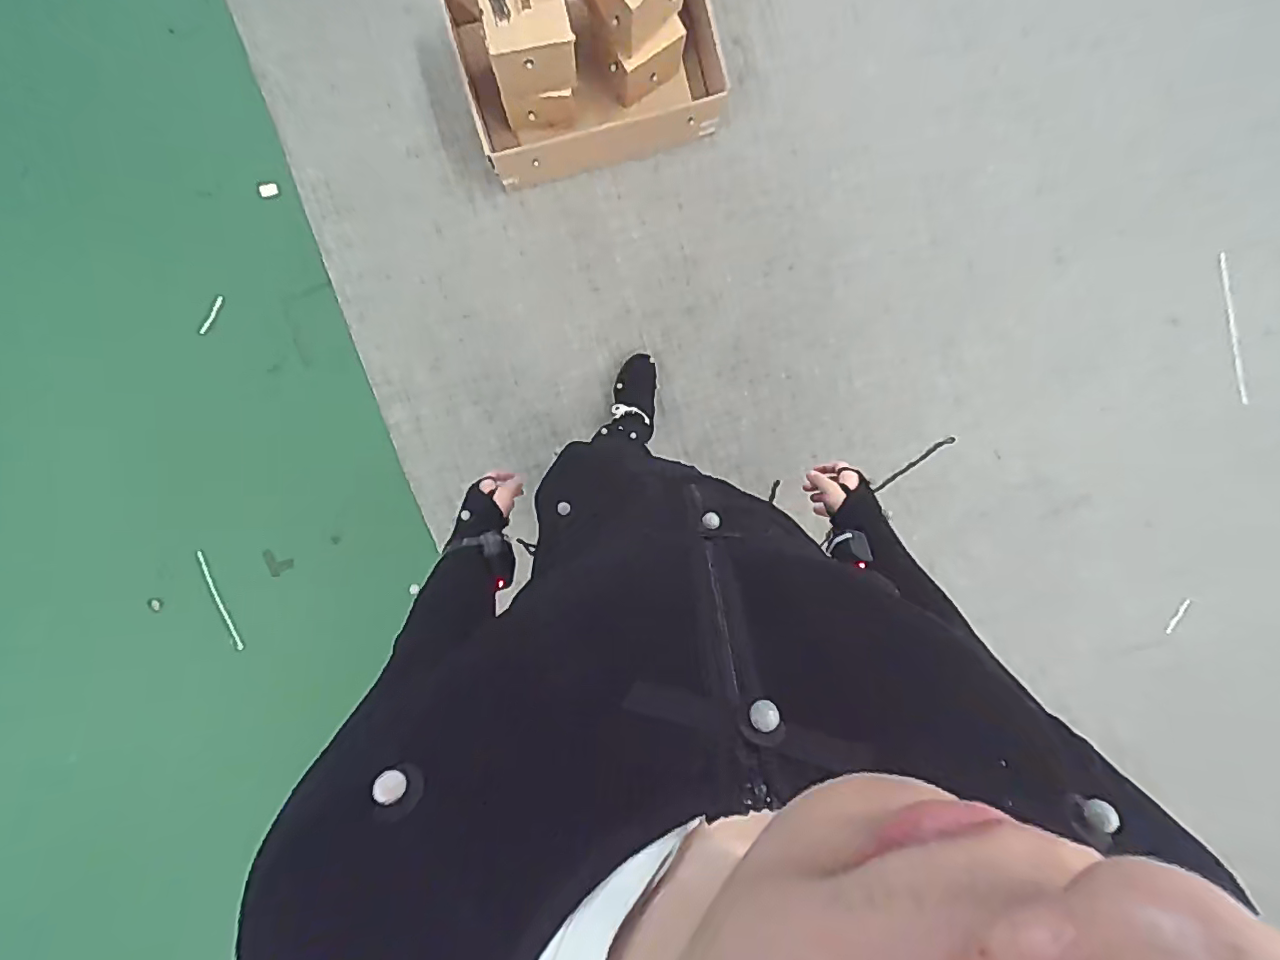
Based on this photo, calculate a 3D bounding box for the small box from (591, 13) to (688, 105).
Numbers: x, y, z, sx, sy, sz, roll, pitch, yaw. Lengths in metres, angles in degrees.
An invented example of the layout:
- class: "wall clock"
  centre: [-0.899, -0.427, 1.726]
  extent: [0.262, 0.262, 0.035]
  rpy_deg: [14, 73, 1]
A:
- class: "small box"
  centre: [-0.002, -1.069, 1.329]
  extent: [0.168, 0.176, 0.179]
  rpy_deg: [-32, 98, 2]

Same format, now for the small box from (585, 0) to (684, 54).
- class: "small box"
  centre: [-0.010, -1.073, 1.163]
  extent: [0.168, 0.176, 0.179]
  rpy_deg: [-42, 98, 3]

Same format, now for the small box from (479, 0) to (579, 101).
- class: "small box"
  centre: [-0.236, -0.956, 1.165]
  extent: [0.179, 0.176, 0.168]
  rpy_deg: [-12, 98, -3]
